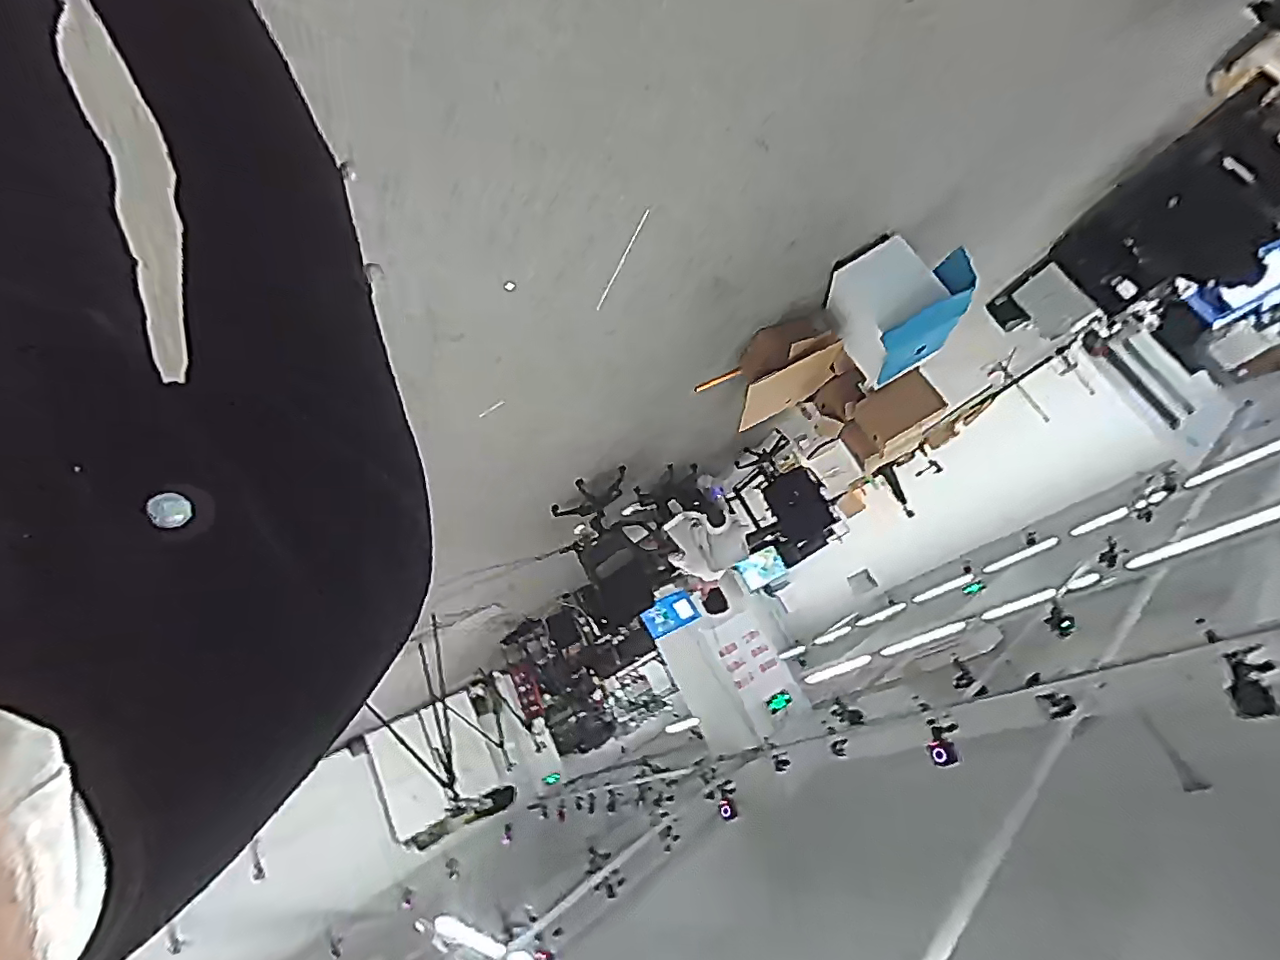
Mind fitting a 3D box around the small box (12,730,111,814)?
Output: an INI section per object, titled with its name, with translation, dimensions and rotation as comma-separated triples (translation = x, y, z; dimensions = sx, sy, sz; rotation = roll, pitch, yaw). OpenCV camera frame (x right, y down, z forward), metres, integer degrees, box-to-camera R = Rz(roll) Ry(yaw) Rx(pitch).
[small box]
translation = -1.767, 0.891, 1.656
dimensions = 0.168, 0.176, 0.179
rotation = -16, 158, -37
